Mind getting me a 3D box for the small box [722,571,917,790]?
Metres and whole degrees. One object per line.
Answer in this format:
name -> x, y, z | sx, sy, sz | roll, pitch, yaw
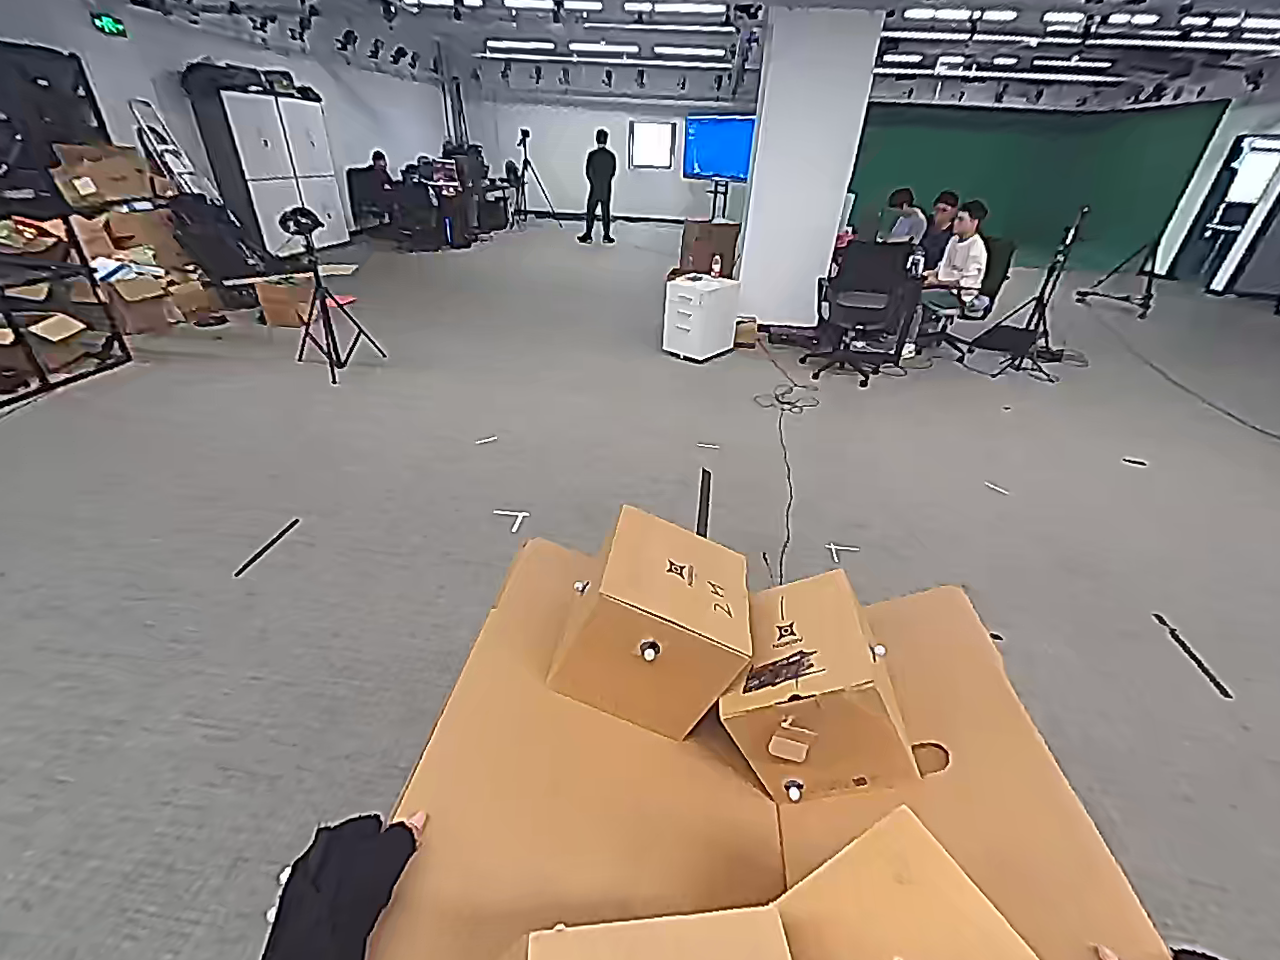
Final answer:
small box -> 0.210, 0.246, 0.652 | 0.168, 0.176, 0.179 | -21, 23, 21
